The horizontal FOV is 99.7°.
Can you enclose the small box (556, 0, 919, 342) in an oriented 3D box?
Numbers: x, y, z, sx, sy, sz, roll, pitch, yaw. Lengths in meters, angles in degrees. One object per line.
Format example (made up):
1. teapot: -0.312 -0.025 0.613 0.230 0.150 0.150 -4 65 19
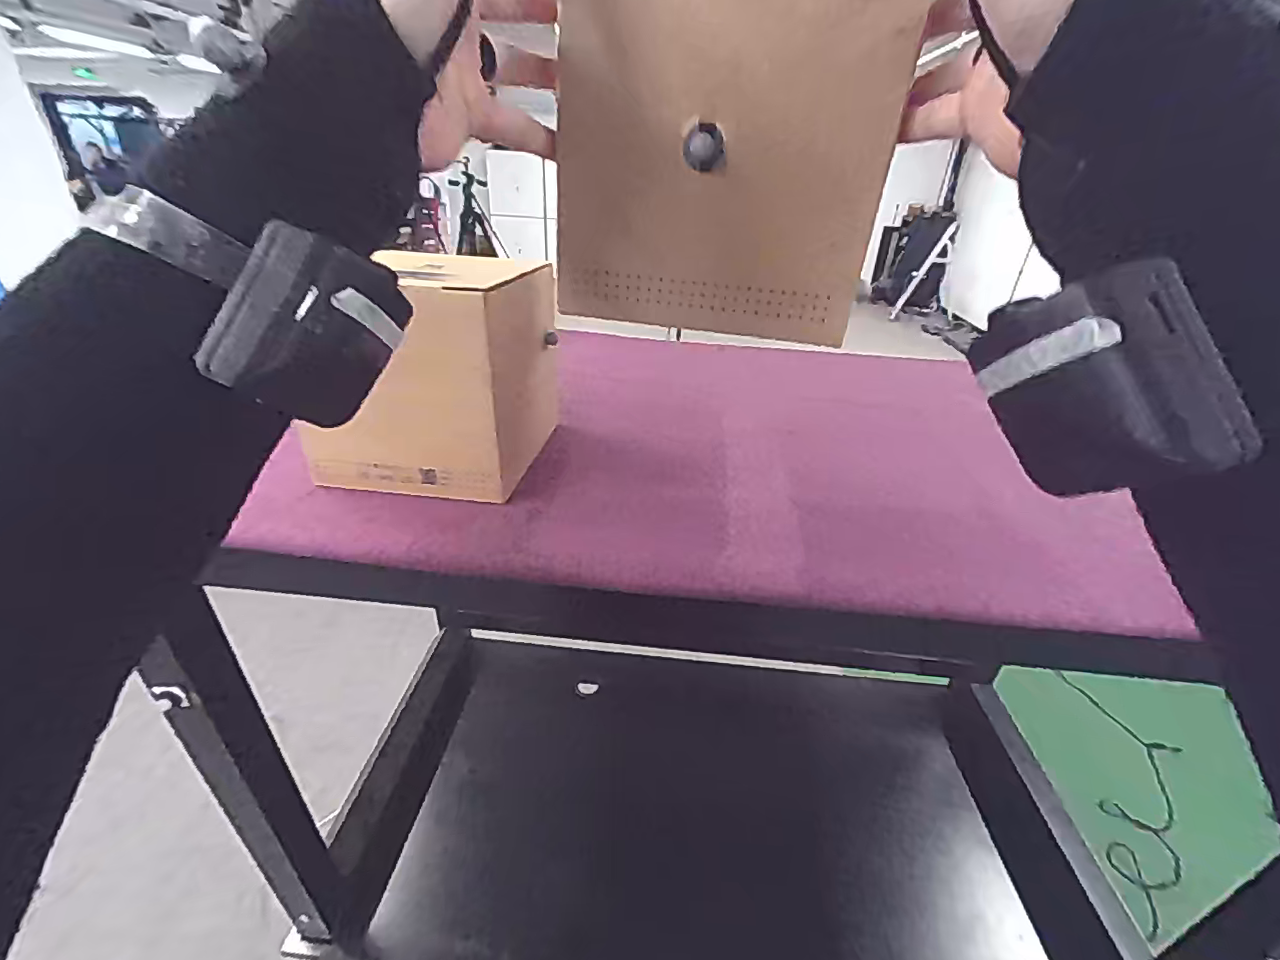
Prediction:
1. small box: 0.051 -0.198 0.363 0.179 0.176 0.168 8 29 6
